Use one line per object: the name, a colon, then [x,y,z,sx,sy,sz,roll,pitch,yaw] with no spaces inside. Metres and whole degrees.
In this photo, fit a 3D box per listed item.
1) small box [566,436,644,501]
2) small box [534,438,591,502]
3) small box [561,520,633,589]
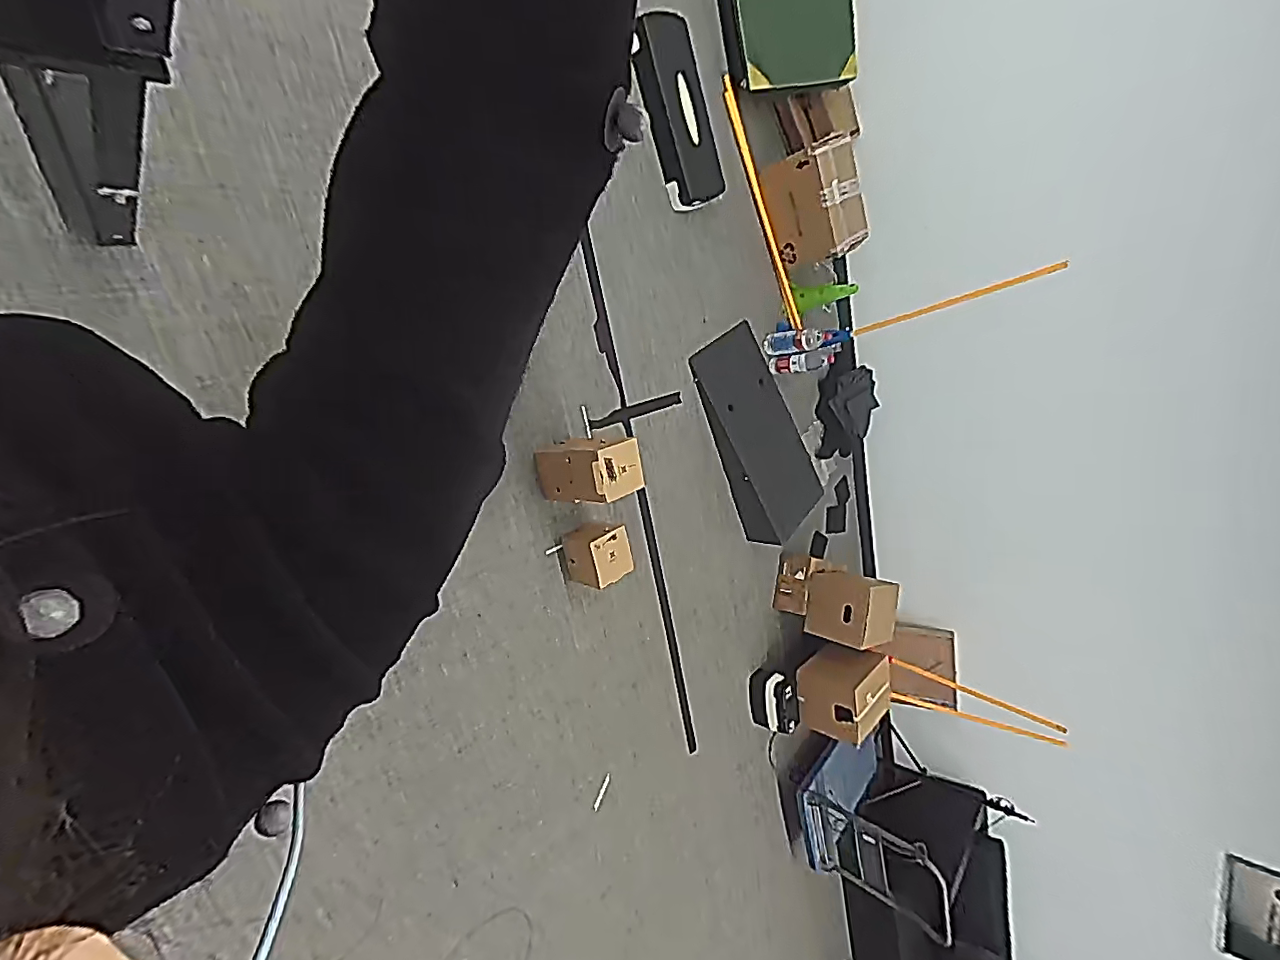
small box: [-0.116,-0.039,1.695,0.179,0.176,0.168,-23,110,-43]
small box: [-0.228,-0.040,1.814,0.168,0.176,0.179,-26,111,-41]
small box: [-0.154,0.256,1.910,0.168,0.176,0.179,-25,111,-41]
